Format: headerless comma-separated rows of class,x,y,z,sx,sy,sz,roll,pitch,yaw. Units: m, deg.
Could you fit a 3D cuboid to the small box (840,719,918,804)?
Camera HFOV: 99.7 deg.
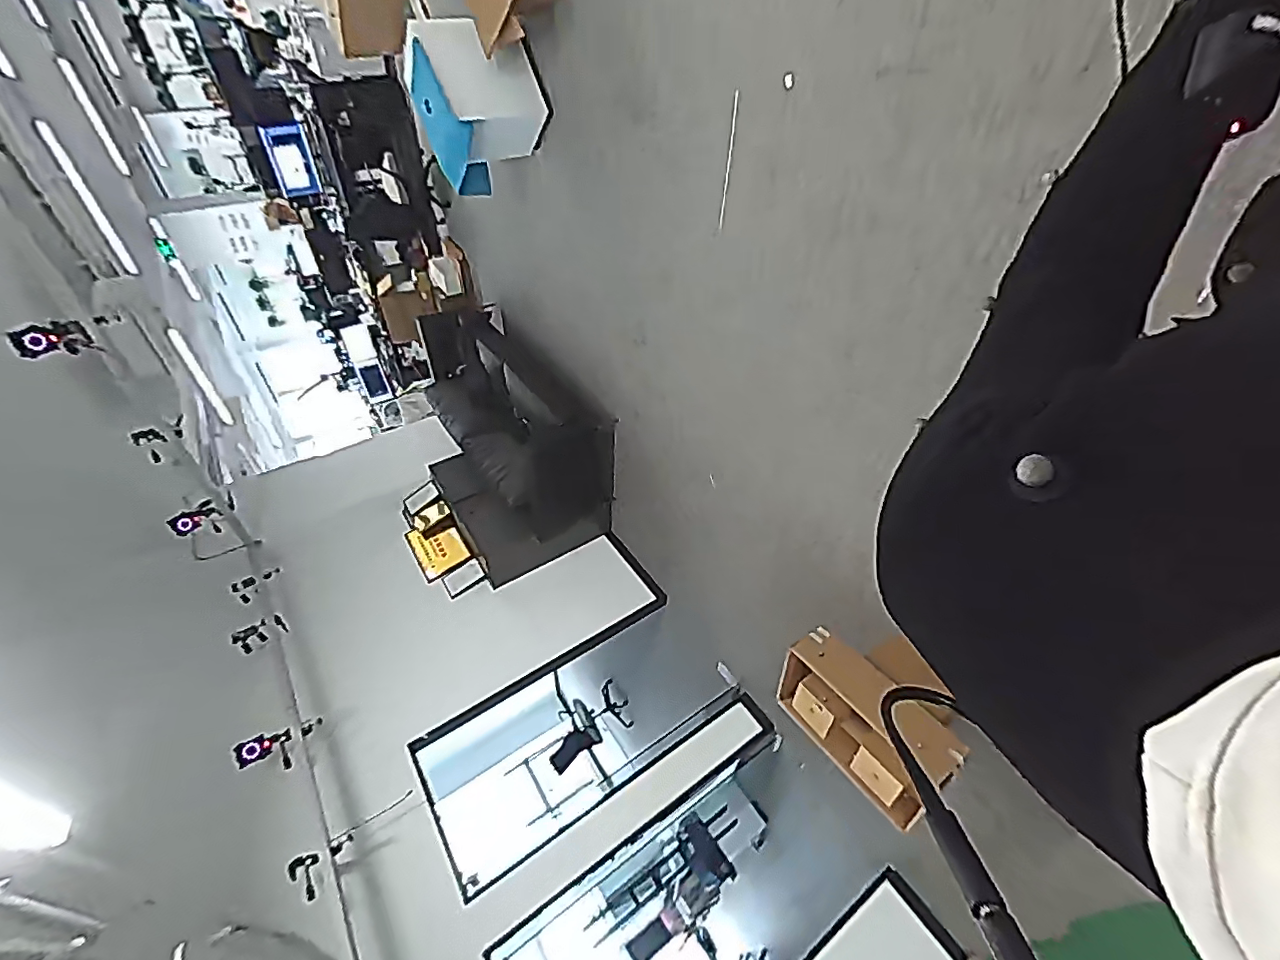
small box,0.833,0.971,1.880,0.168,0.176,0.179,41,146,39
